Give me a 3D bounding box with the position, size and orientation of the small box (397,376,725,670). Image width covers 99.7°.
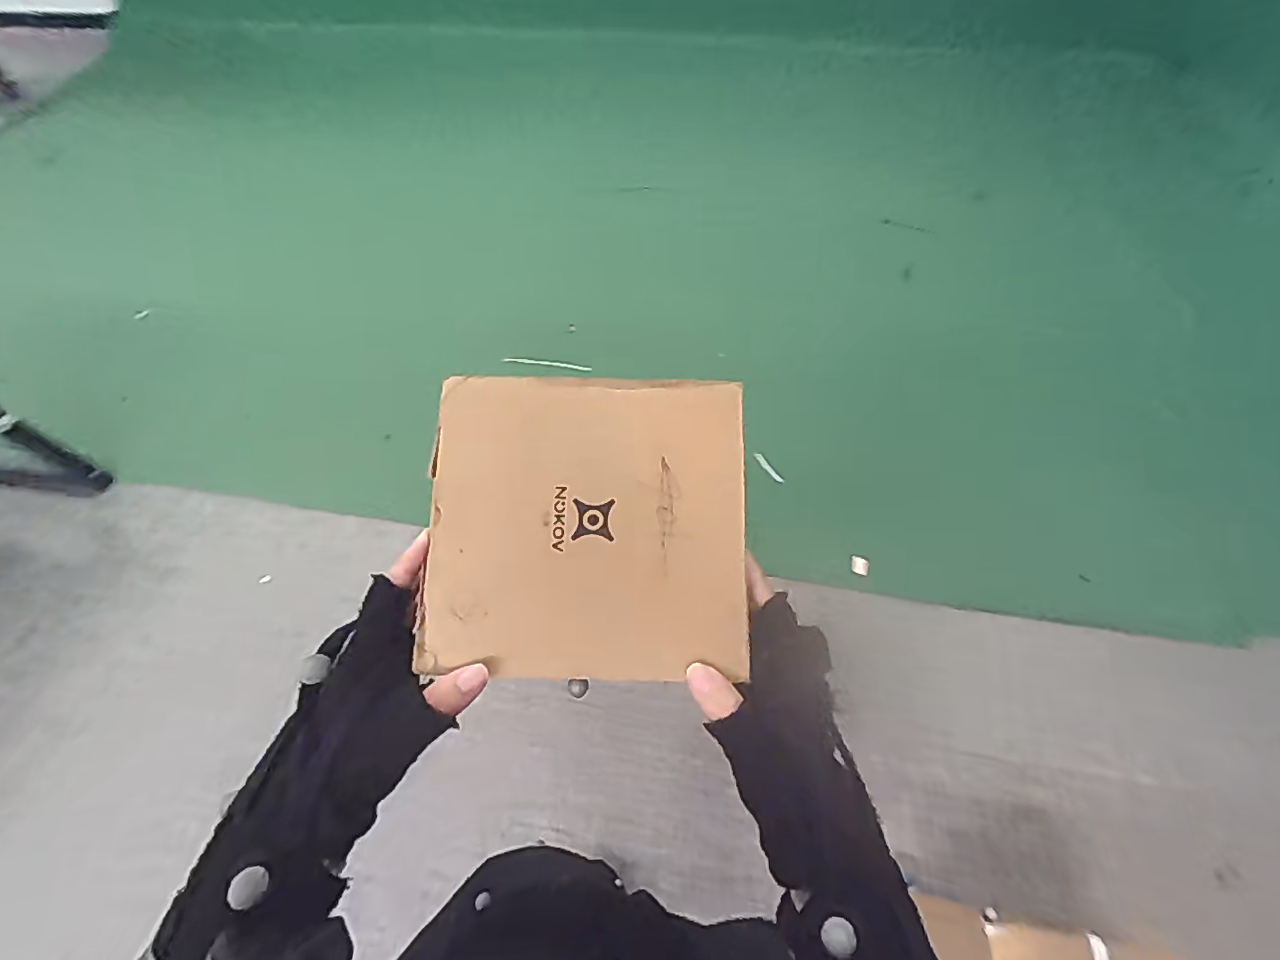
[{"bbox_3d":[-0.042,0.037,0.378,0.179,0.176,0.168,0,79,-1],"label":"small box"}]
